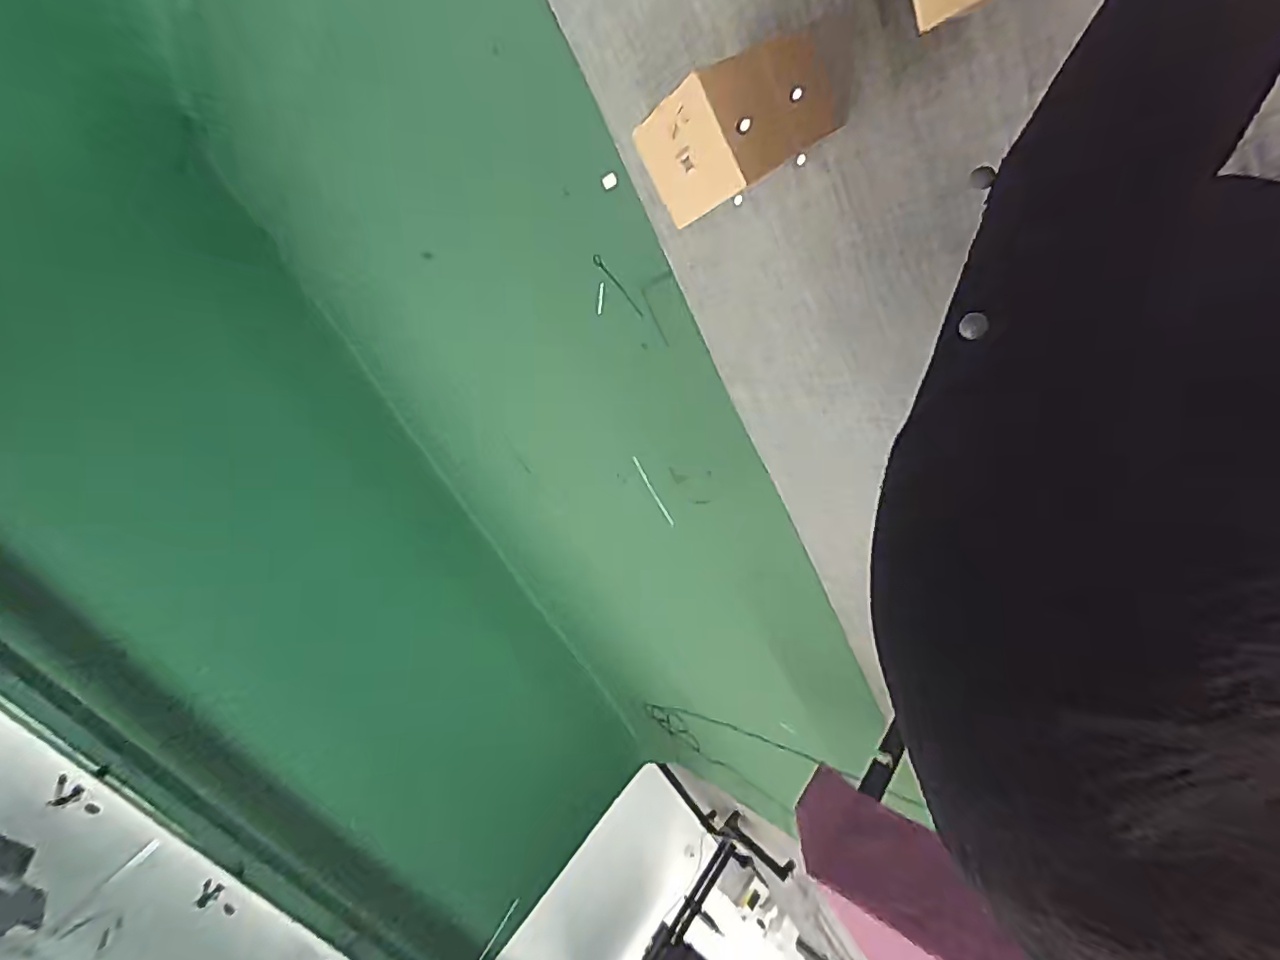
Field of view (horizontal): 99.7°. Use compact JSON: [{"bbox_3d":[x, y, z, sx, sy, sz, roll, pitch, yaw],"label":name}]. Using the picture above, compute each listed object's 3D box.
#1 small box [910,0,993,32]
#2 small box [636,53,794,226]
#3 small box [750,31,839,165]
[{"bbox_3d":[0.385,-0.605,0.546,0.179,0.176,0.168,6,131,50],"label":"small box"},{"bbox_3d":[0.133,-0.575,0.922,0.168,0.176,0.179,-3,124,53],"label":"small box"},{"bbox_3d":[0.239,-0.676,0.999,0.168,0.176,0.179,-1,125,53],"label":"small box"}]
